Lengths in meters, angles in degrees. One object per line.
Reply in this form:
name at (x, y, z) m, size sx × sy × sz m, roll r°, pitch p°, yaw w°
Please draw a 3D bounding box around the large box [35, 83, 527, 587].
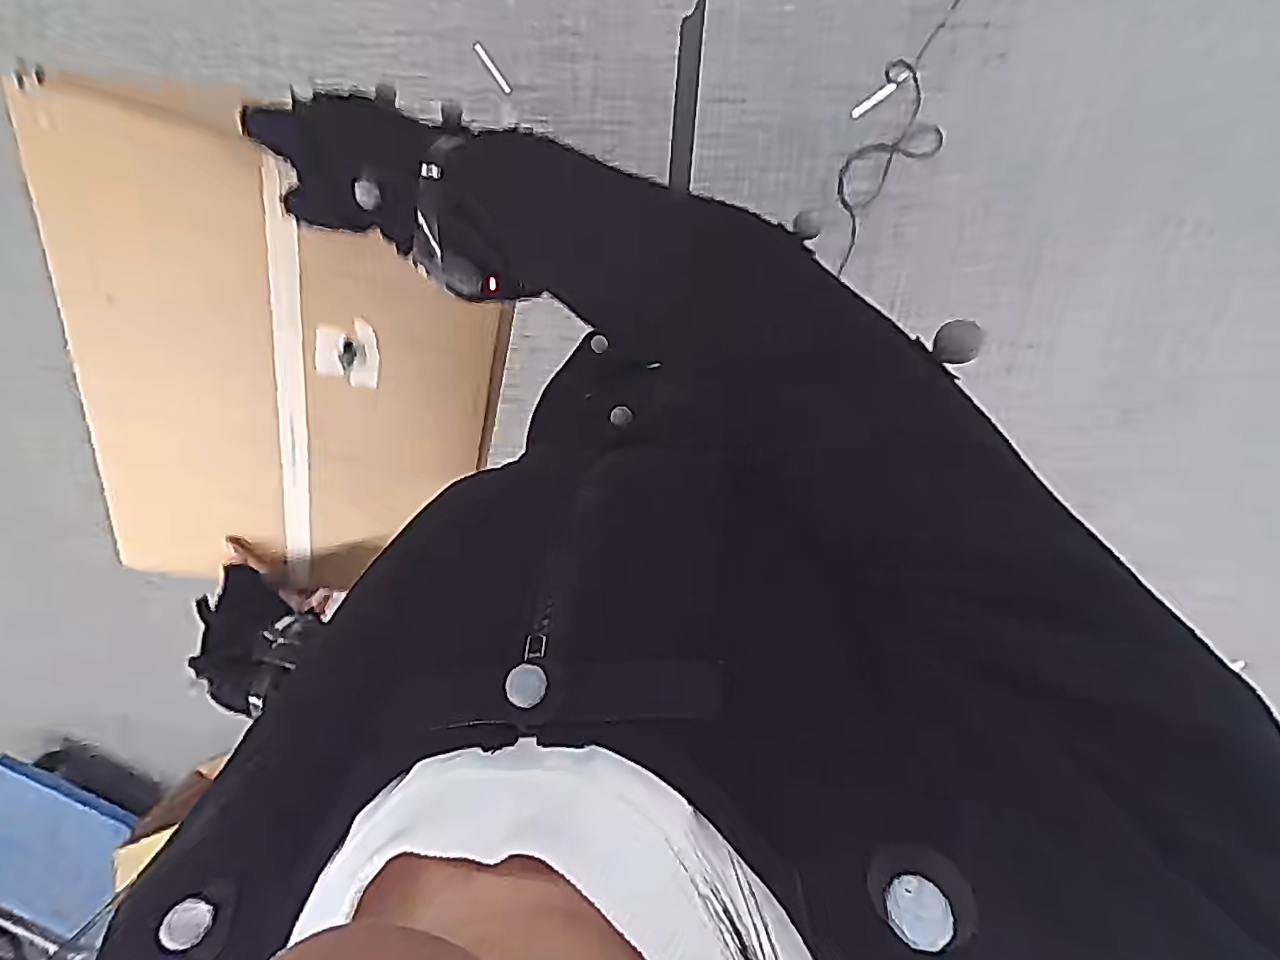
large box at (-0.312, -0.143, 0.605) m, size 0.320 × 0.320 × 0.408 m, roll 8°, pitch 119°, yaw -15°
